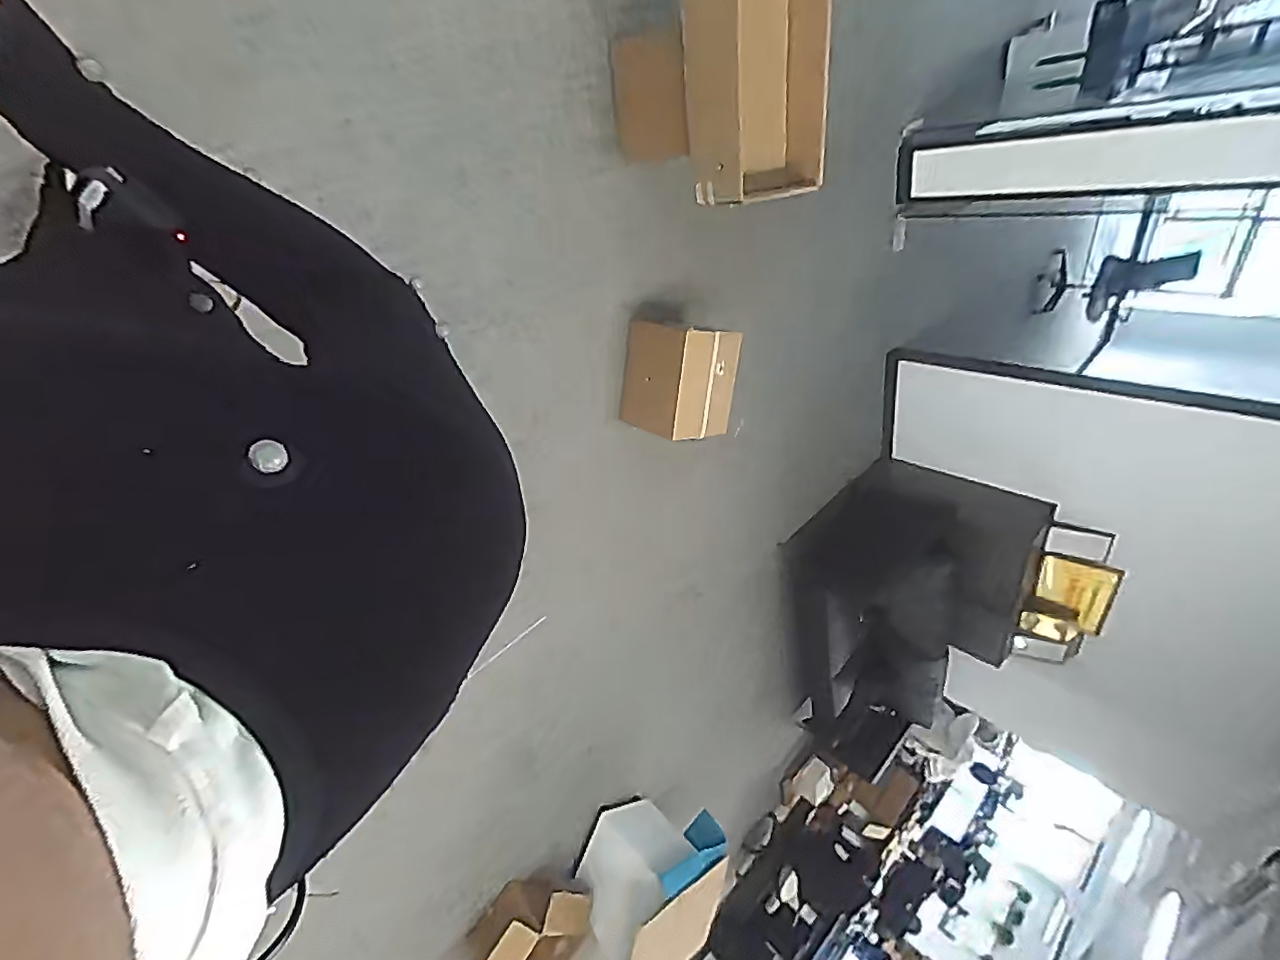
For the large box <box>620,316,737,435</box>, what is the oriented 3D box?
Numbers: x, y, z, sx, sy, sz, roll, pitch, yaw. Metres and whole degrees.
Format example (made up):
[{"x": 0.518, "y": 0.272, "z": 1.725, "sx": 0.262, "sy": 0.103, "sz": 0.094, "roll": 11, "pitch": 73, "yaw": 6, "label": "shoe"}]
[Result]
[{"x": 0.141, "y": -0.419, "z": 2.123, "sx": 0.320, "sy": 0.320, "sz": 0.408, "roll": -12, "pitch": 116, "yaw": -41, "label": "large box"}]
